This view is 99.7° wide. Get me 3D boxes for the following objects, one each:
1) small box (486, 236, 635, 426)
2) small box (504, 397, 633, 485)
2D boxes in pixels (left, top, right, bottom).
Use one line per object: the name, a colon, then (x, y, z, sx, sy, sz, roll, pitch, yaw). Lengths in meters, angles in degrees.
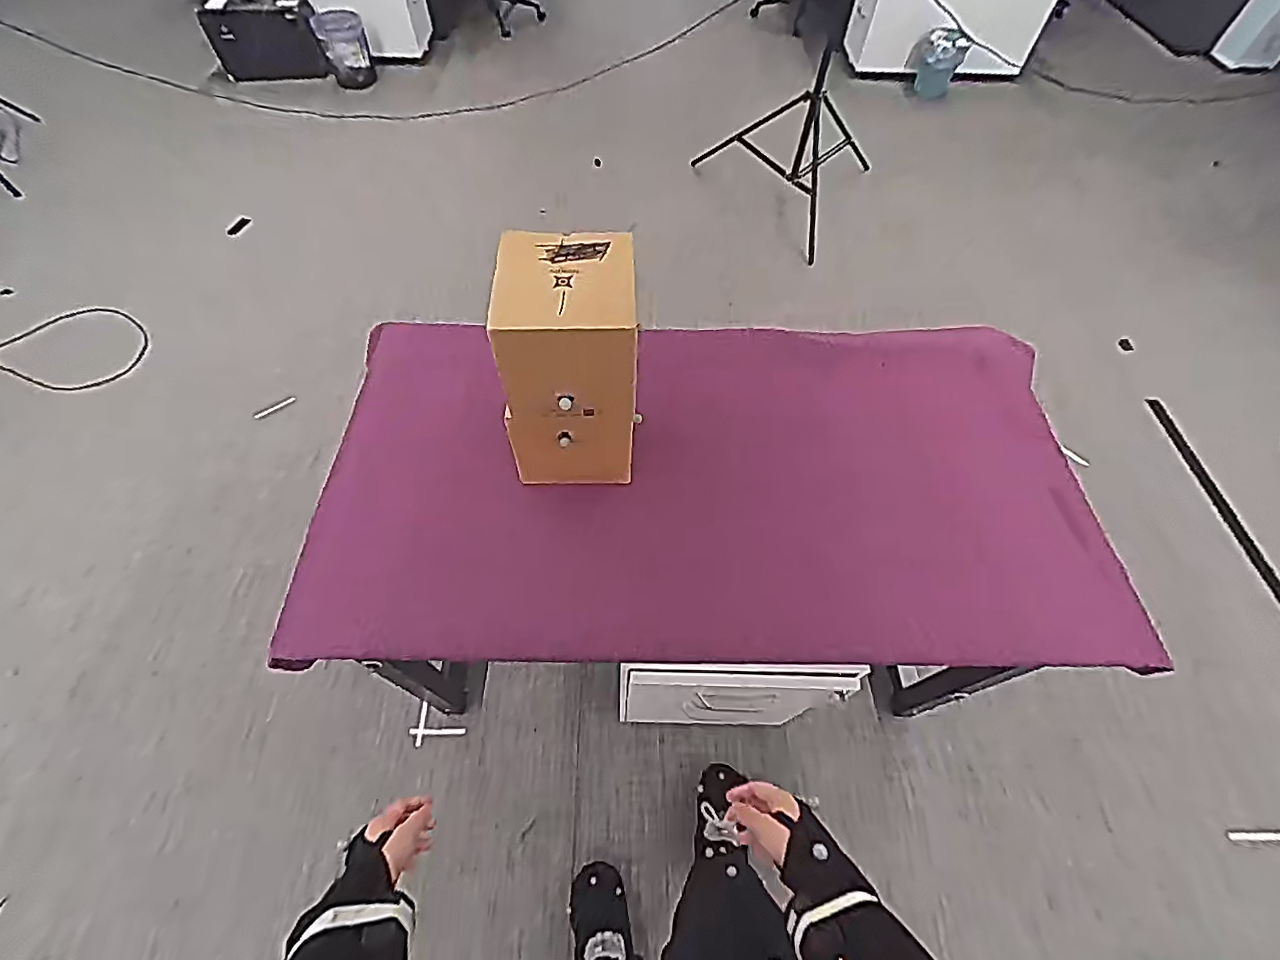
small box: (-0.092, -0.189, 0.703, 0.168, 0.176, 0.179, -1, 59, -2)
small box: (-0.100, -0.103, 0.843, 0.179, 0.176, 0.168, 0, 58, -1)
